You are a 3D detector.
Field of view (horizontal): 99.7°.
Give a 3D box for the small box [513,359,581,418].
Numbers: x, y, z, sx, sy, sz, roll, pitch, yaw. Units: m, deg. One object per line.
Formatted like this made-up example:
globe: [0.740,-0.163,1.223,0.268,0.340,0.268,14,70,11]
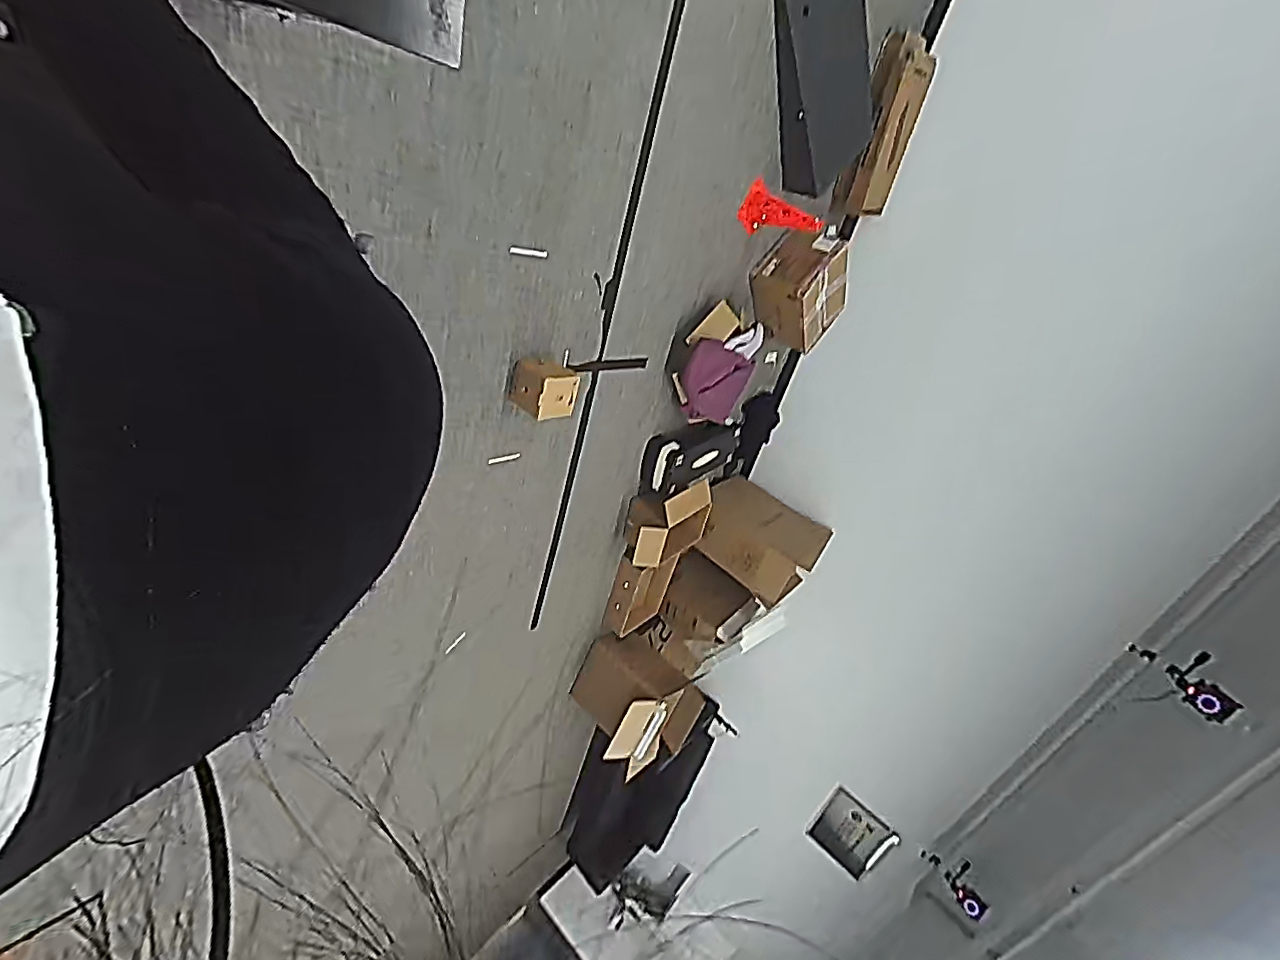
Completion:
small box: [-0.354,-0.348,2.028,0.179,0.176,0.168,-16,133,-48]
